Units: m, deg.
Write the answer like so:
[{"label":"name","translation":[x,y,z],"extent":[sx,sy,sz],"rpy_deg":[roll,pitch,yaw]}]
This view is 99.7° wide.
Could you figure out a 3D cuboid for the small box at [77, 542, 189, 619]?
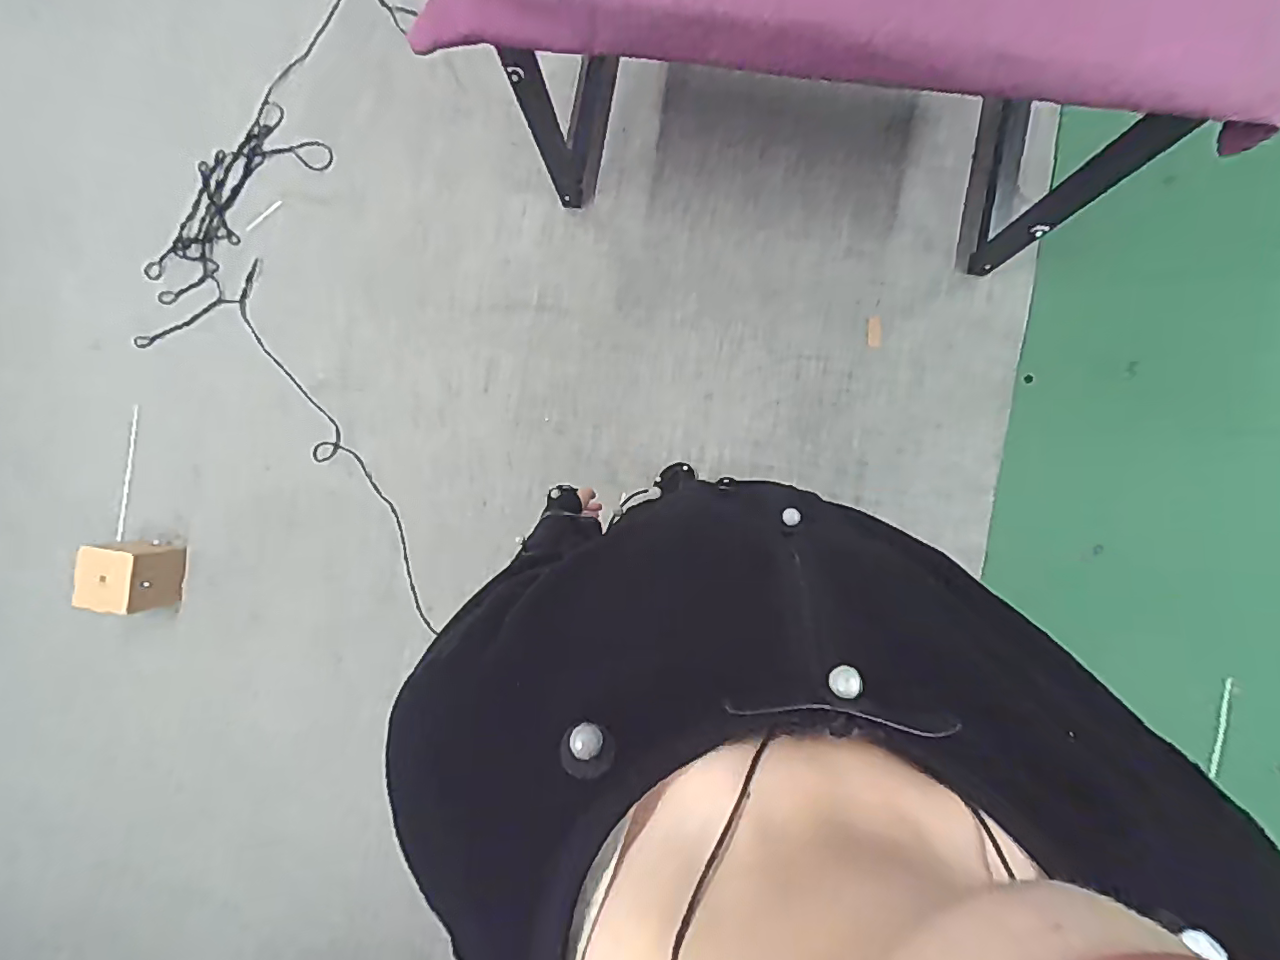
[{"label":"small box","translation":[-1.463,0.285,1.570],"extent":[0.168,0.176,0.179],"rpy_deg":[8,90,5]}]
